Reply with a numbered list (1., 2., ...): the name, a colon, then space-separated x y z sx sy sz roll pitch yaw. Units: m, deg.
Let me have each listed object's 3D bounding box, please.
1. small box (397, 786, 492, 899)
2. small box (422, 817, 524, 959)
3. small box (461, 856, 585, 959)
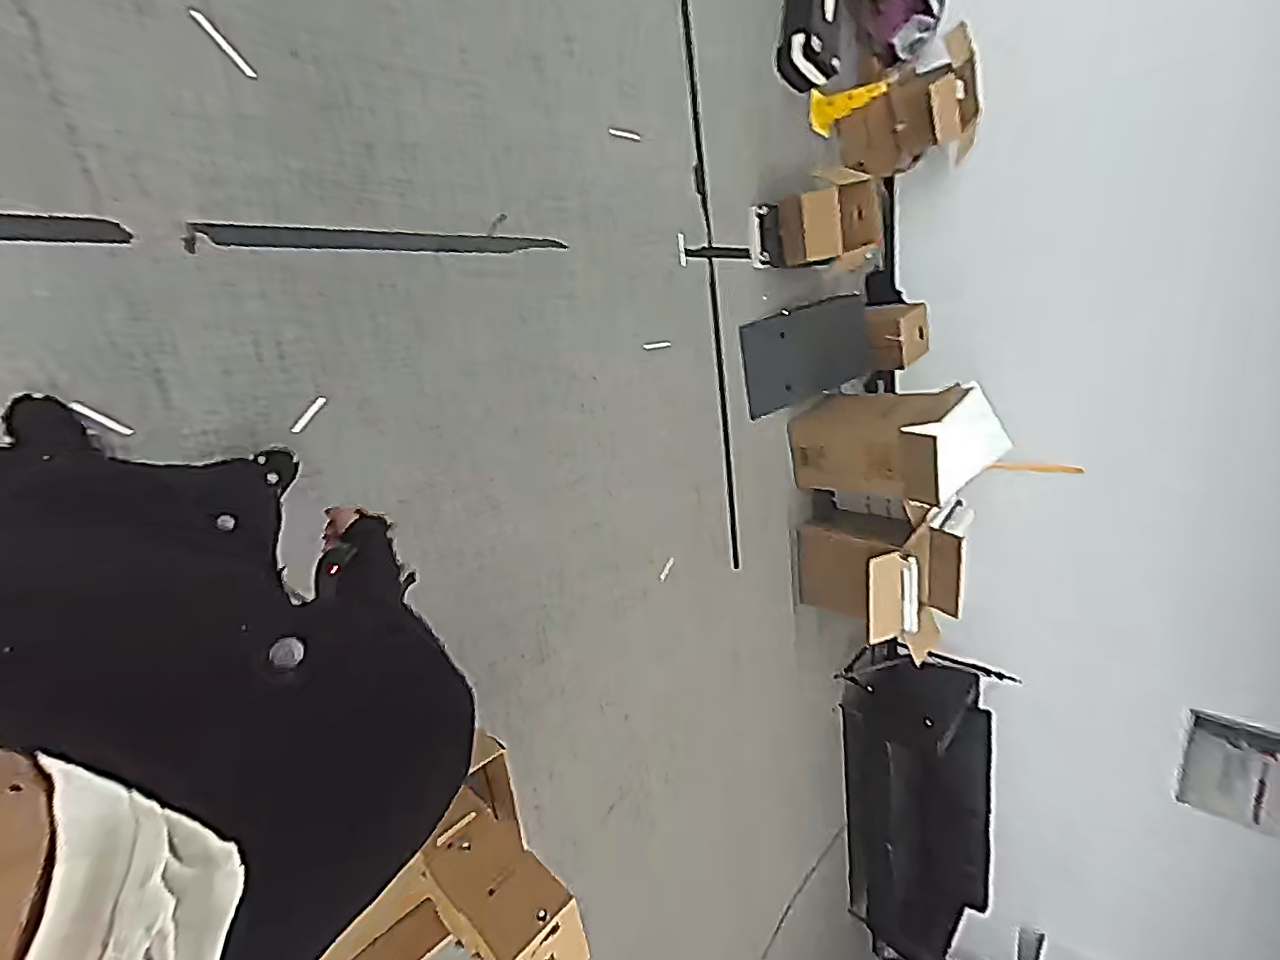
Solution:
1. small box: -0.467 0.887 1.318 0.168 0.176 0.179 -22 112 -41
2. small box: -0.356 0.902 1.198 0.168 0.176 0.179 -24 112 -41
3. small box: -0.235 0.918 1.087 0.168 0.176 0.179 -24 113 -41
